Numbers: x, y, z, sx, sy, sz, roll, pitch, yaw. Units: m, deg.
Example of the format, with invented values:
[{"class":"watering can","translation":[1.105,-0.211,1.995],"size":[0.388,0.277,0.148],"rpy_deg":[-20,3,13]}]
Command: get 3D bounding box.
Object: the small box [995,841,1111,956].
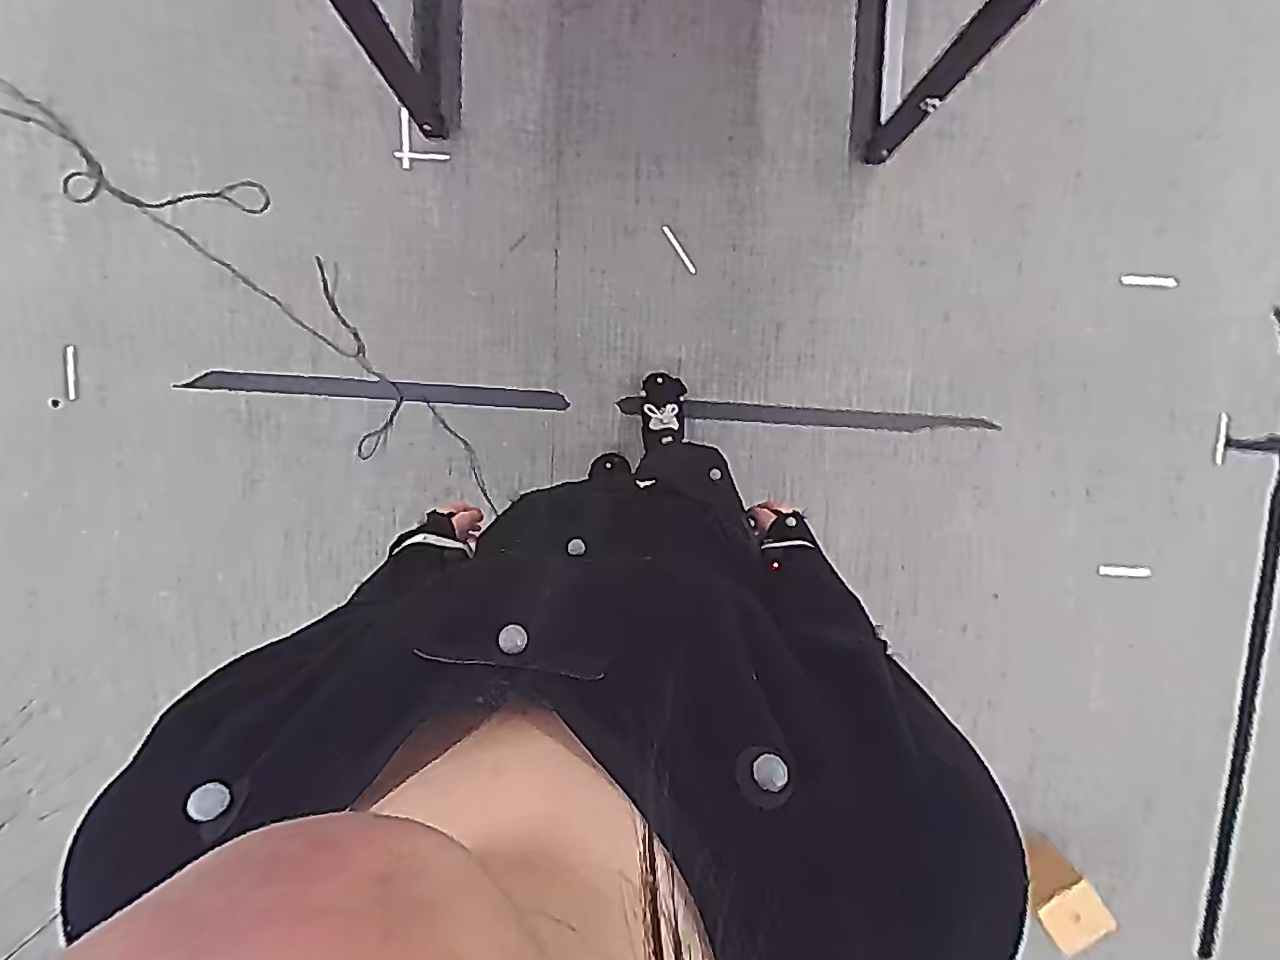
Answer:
[{"class":"small box","translation":[1.177,1.187,1.555],"size":[0.168,0.176,0.179],"rpy_deg":[-35,97,3]}]
